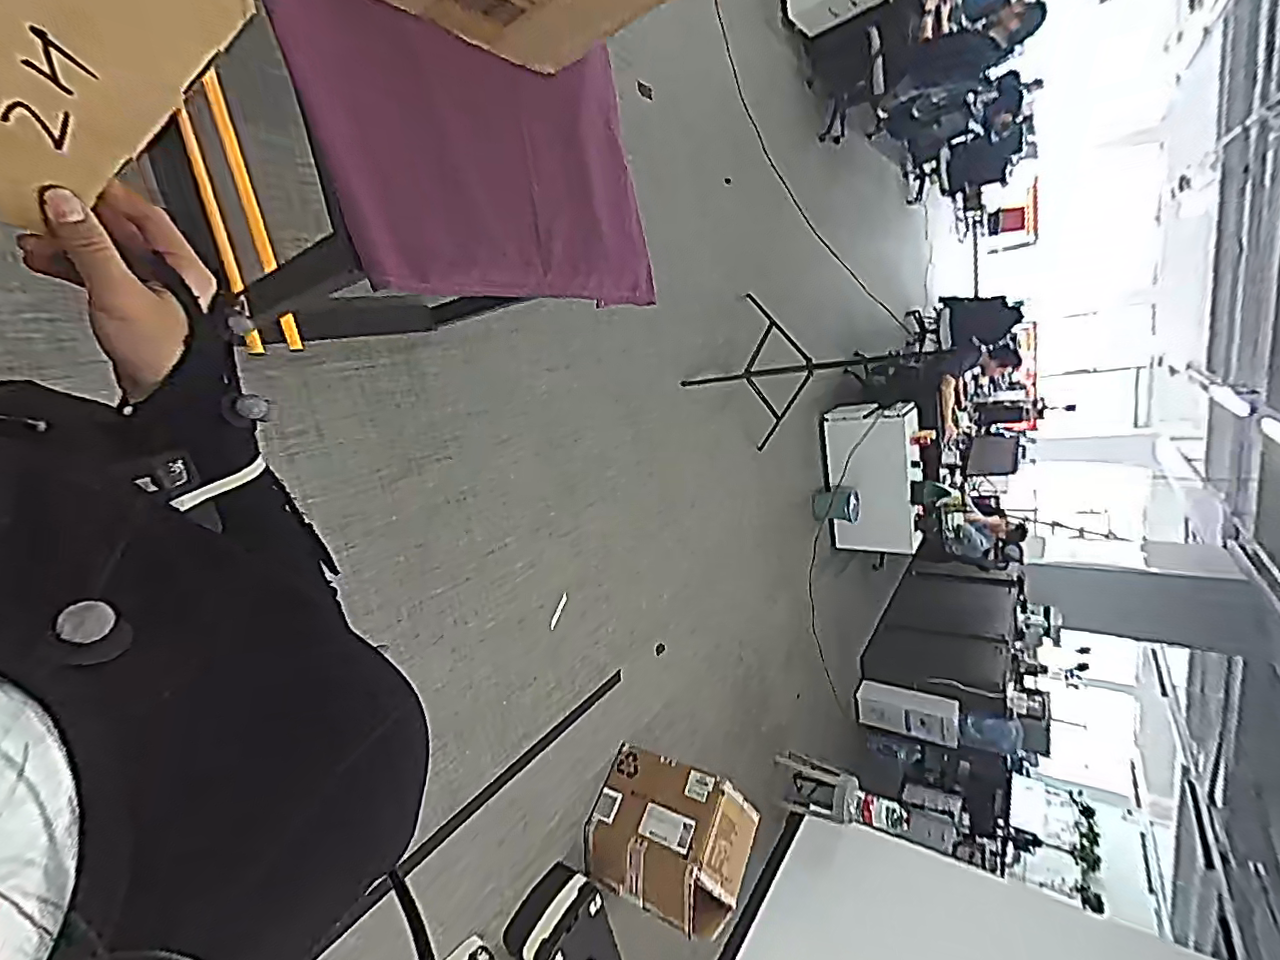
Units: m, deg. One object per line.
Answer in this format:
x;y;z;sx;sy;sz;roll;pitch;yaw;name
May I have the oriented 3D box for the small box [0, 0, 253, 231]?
-0.327;-0.252;0.216;0.168;0.176;0.179;-47;170;1;small box
